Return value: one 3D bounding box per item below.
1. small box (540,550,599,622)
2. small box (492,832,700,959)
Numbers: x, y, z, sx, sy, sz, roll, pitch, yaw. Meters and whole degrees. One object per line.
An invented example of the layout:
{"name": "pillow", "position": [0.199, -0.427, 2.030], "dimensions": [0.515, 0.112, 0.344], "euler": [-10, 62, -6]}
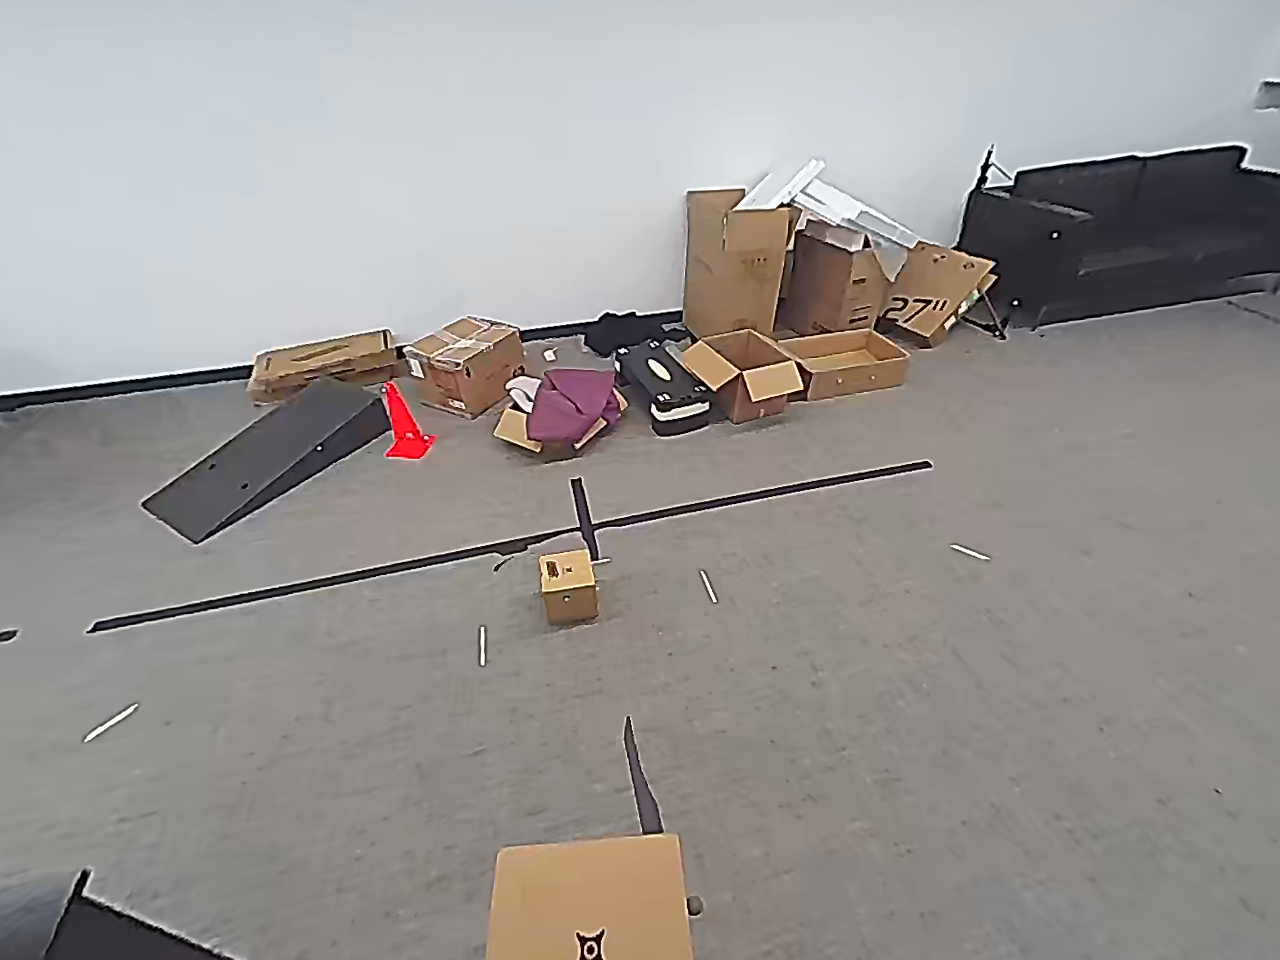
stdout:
{"name": "small box", "position": [-0.242, 0.367, 1.861], "dimensions": [0.179, 0.176, 0.168], "euler": [-8, 39, -8]}
{"name": "small box", "position": [-0.035, 0.442, 0.469], "dimensions": [0.168, 0.176, 0.179], "euler": [-3, 36, -4]}
